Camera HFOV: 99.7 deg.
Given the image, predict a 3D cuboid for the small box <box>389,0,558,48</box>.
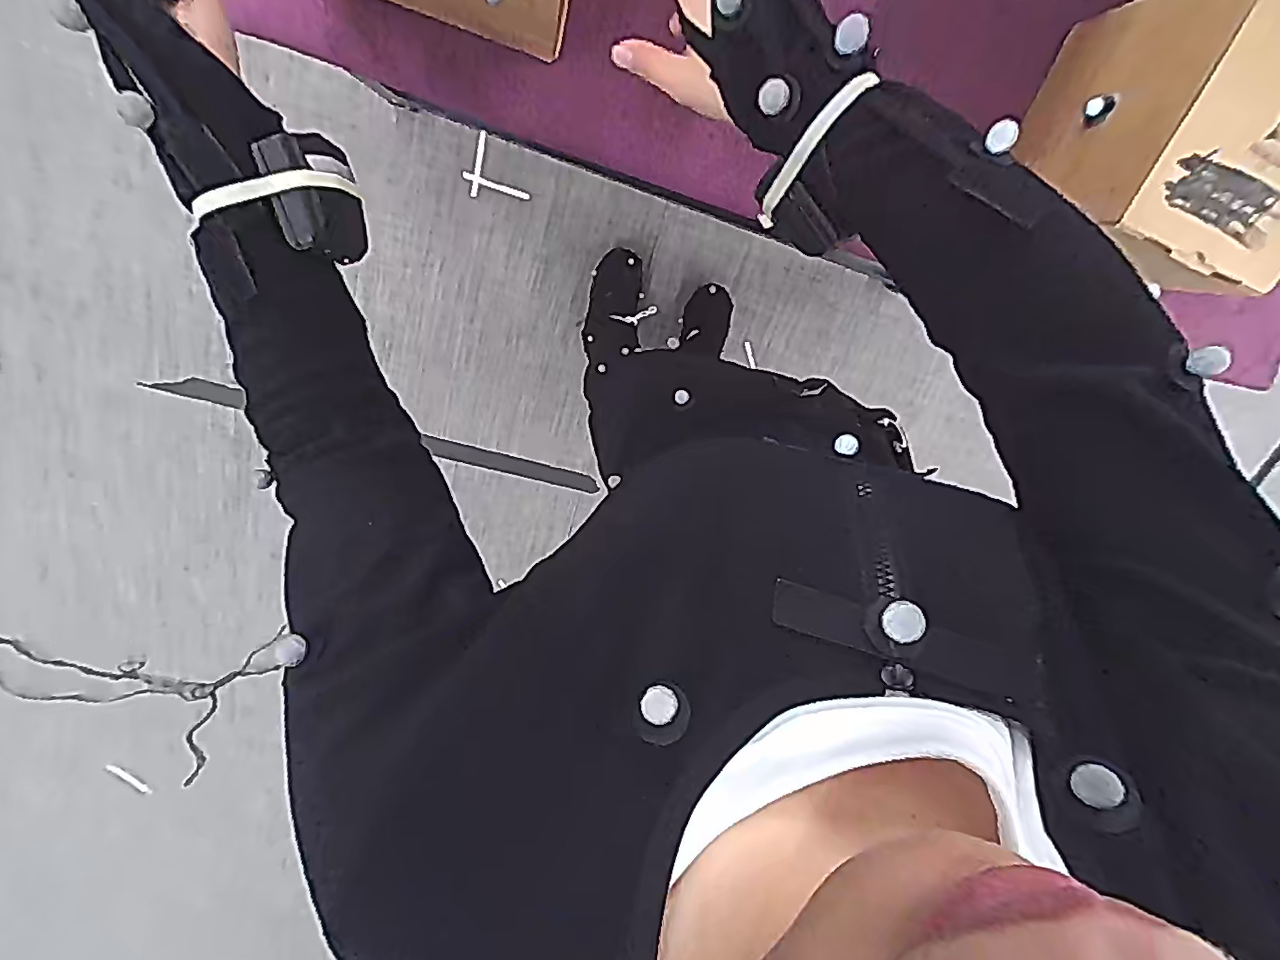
[{"bbox_3d":[-0.125,-0.405,0.327,0.179,0.176,0.168,9,112,-16],"label":"small box"}]
